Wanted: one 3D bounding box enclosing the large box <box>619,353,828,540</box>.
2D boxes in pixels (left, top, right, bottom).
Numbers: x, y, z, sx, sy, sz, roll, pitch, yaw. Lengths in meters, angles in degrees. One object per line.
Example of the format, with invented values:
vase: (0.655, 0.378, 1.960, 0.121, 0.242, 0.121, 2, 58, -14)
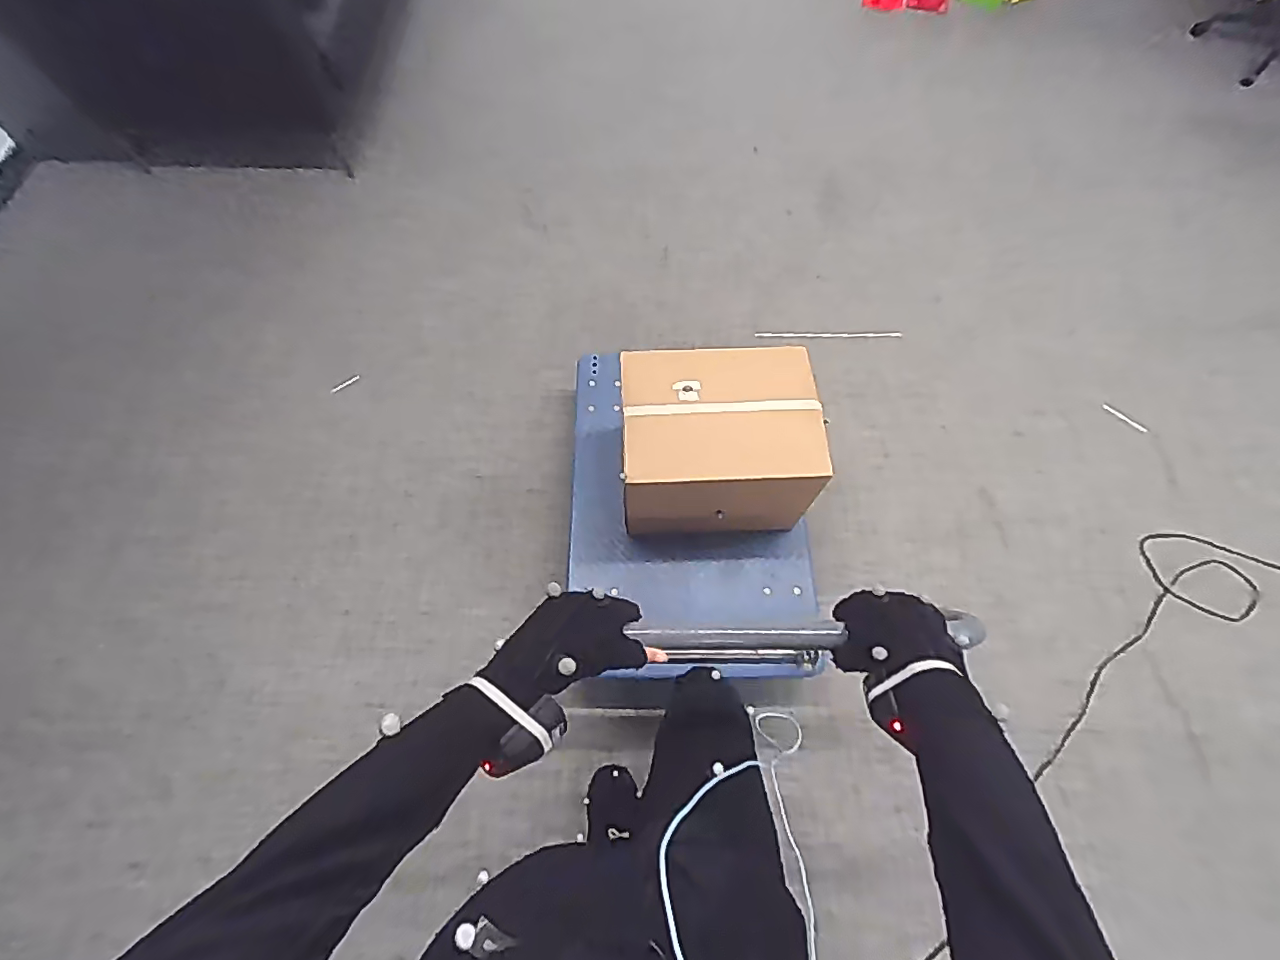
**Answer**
large box: (0.167, -0.064, 1.251, 0.408, 0.320, 0.320, -4, 65, 0)
